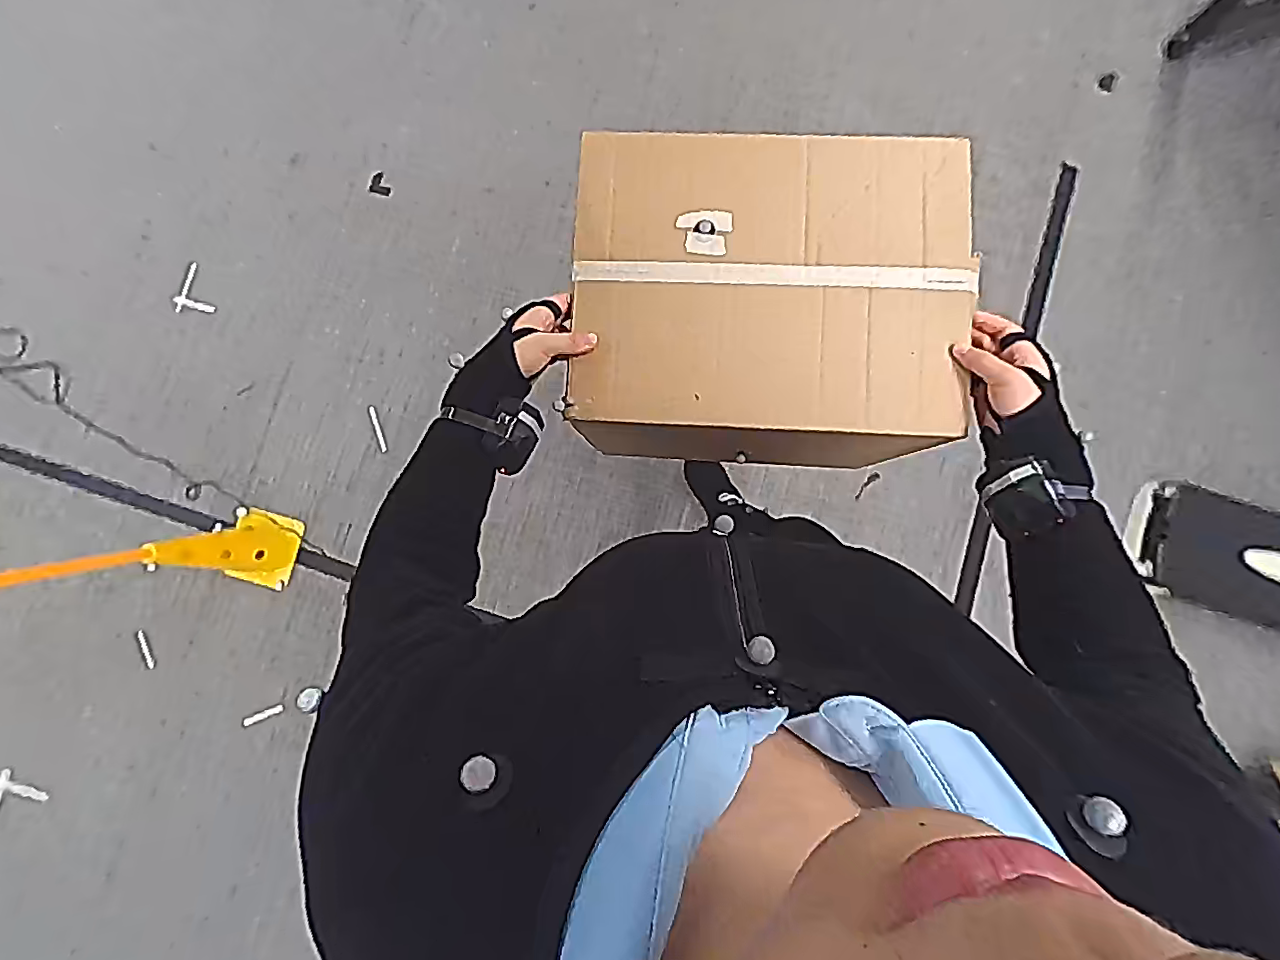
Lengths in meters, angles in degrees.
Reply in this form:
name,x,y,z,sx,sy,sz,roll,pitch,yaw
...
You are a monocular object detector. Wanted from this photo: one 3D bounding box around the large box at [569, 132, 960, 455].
name,x,y,z,sx,sy,sz,roll,pitch,yaw
large box,0.139,-0.202,0.714,0.408,0.320,0.320,2,84,5
